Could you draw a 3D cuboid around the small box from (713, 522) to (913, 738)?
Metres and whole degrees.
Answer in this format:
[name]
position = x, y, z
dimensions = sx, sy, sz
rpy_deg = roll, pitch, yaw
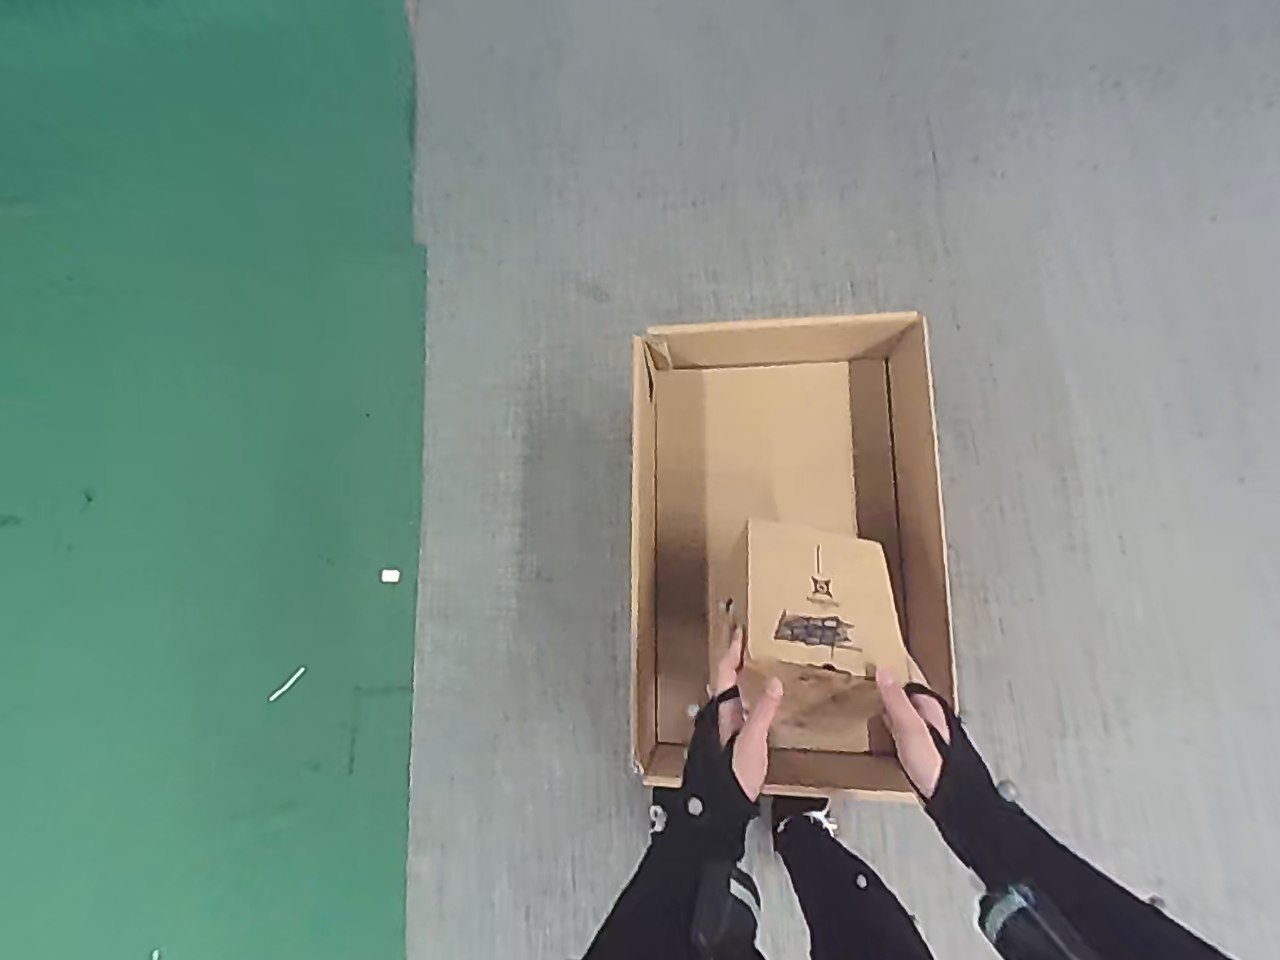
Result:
[small box]
position = 0.184, 0.178, 0.630
dimensions = 0.168, 0.176, 0.179
rpy_deg = 10, 47, 0
